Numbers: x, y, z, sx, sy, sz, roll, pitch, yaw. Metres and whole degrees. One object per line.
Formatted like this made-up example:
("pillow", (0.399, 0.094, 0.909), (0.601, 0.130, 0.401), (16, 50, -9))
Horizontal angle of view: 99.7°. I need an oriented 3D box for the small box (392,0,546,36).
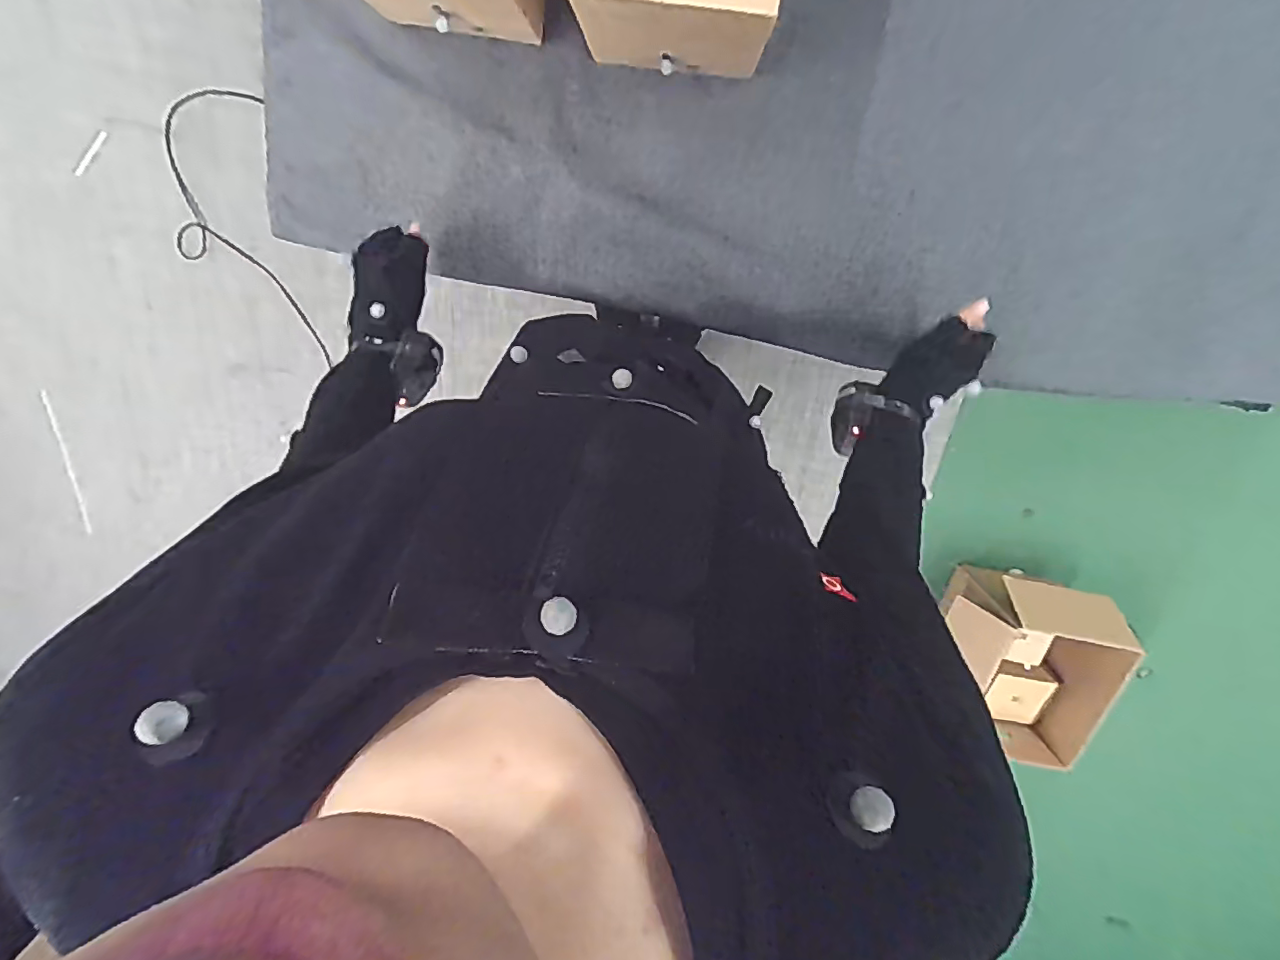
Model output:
("small box", (-0.170, -0.518, 0.451), (0.168, 0.176, 0.179), (9, 113, 0))
